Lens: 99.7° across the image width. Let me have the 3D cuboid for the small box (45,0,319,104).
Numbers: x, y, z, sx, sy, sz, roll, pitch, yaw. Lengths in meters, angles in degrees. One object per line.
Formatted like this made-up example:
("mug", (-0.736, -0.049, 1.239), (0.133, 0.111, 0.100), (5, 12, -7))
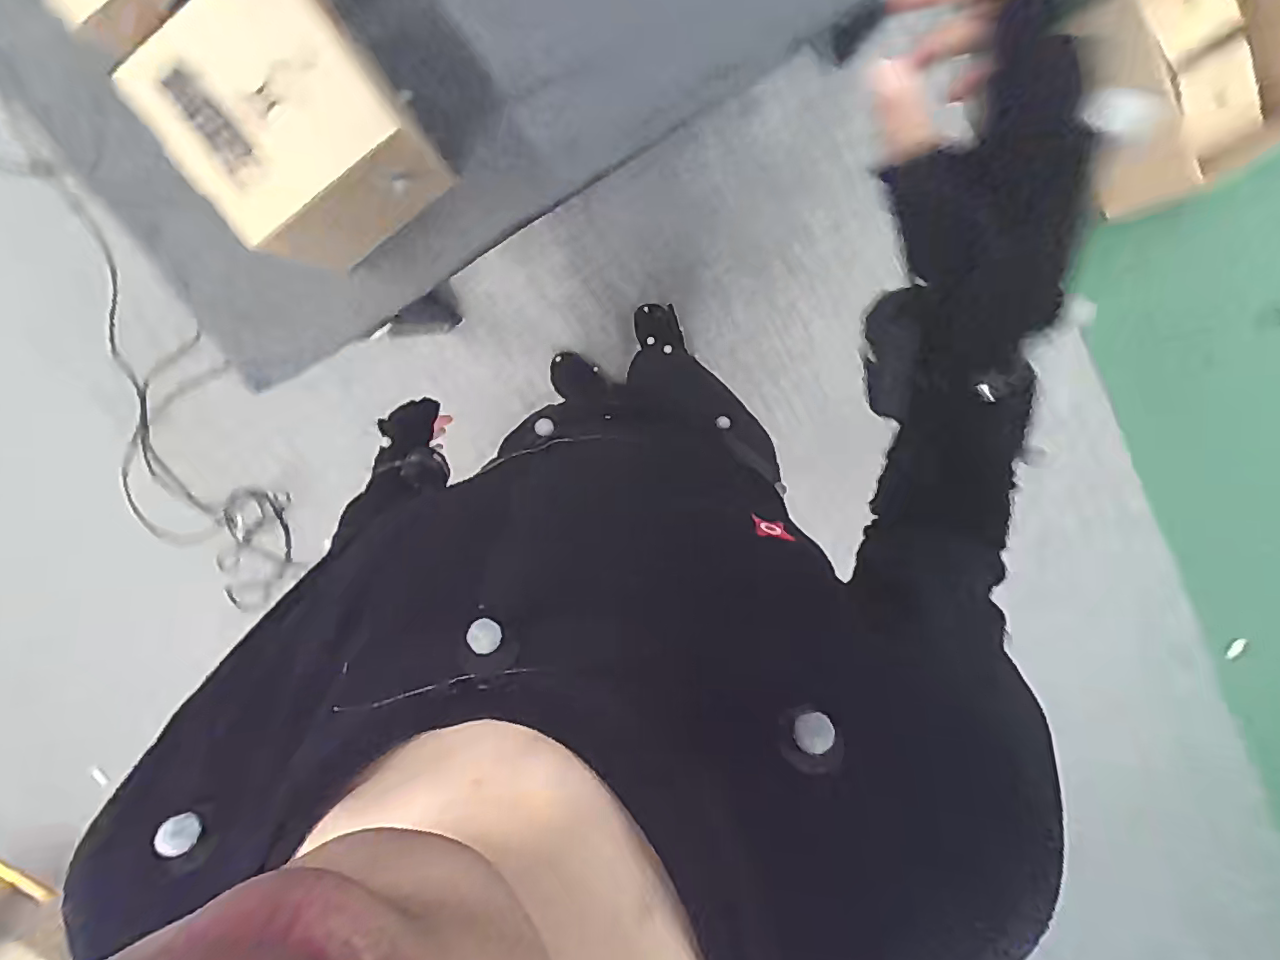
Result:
("small box", (-0.444, -0.497, 0.494), (0.179, 0.176, 0.168), (-35, 105, 7))
